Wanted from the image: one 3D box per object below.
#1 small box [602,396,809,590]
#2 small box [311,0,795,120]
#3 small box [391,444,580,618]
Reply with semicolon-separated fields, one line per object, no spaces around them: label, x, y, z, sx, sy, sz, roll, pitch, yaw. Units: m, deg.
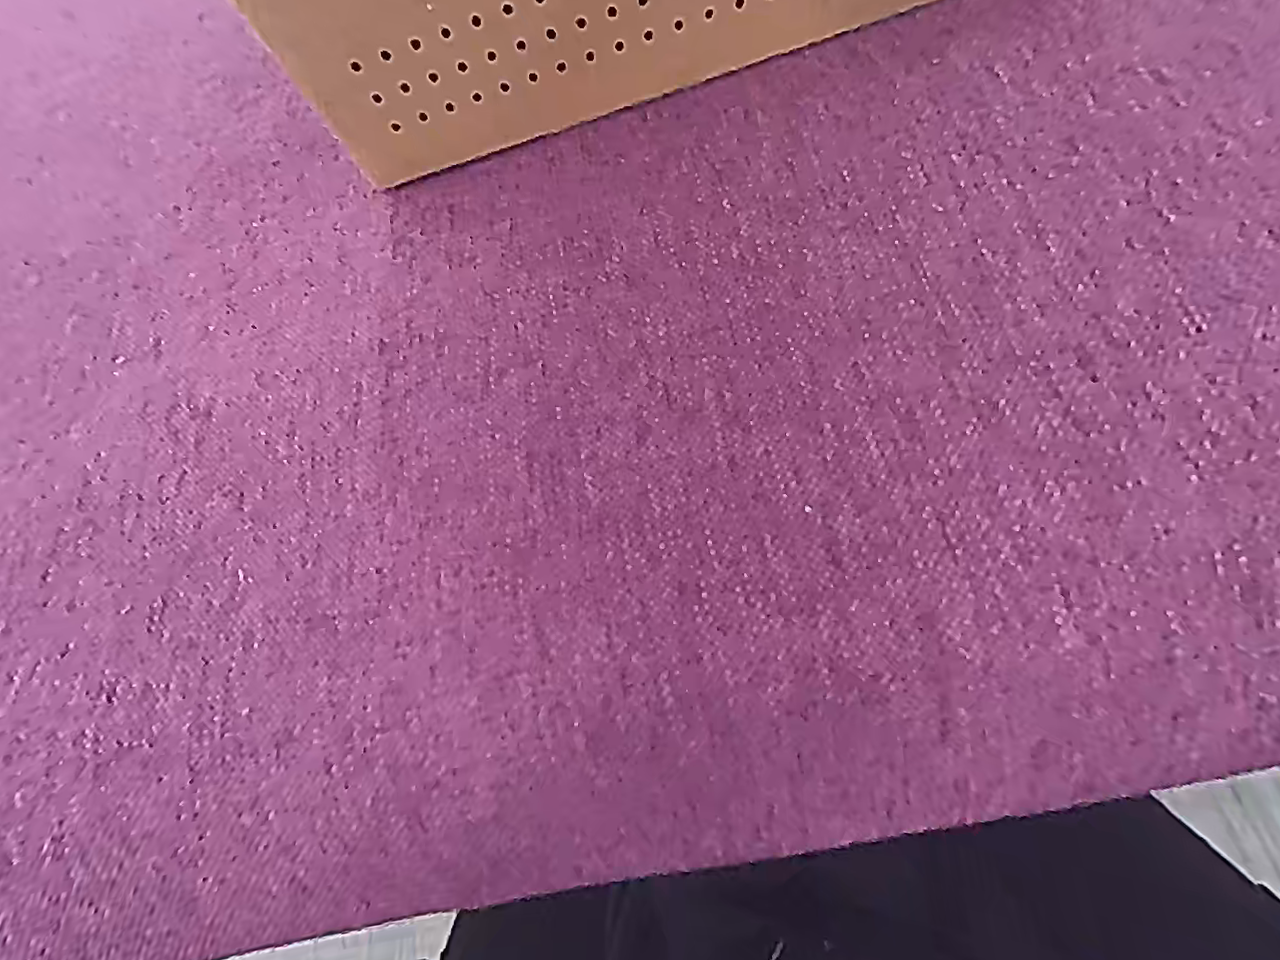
small box;0.072;0.026;0.617;0.179;0.176;0.168;-15;79;4
small box;-0.007;-0.202;0.076;0.179;0.176;0.168;-14;68;6
small box;-0.183;0.074;0.686;0.179;0.176;0.168;-15;72;6
